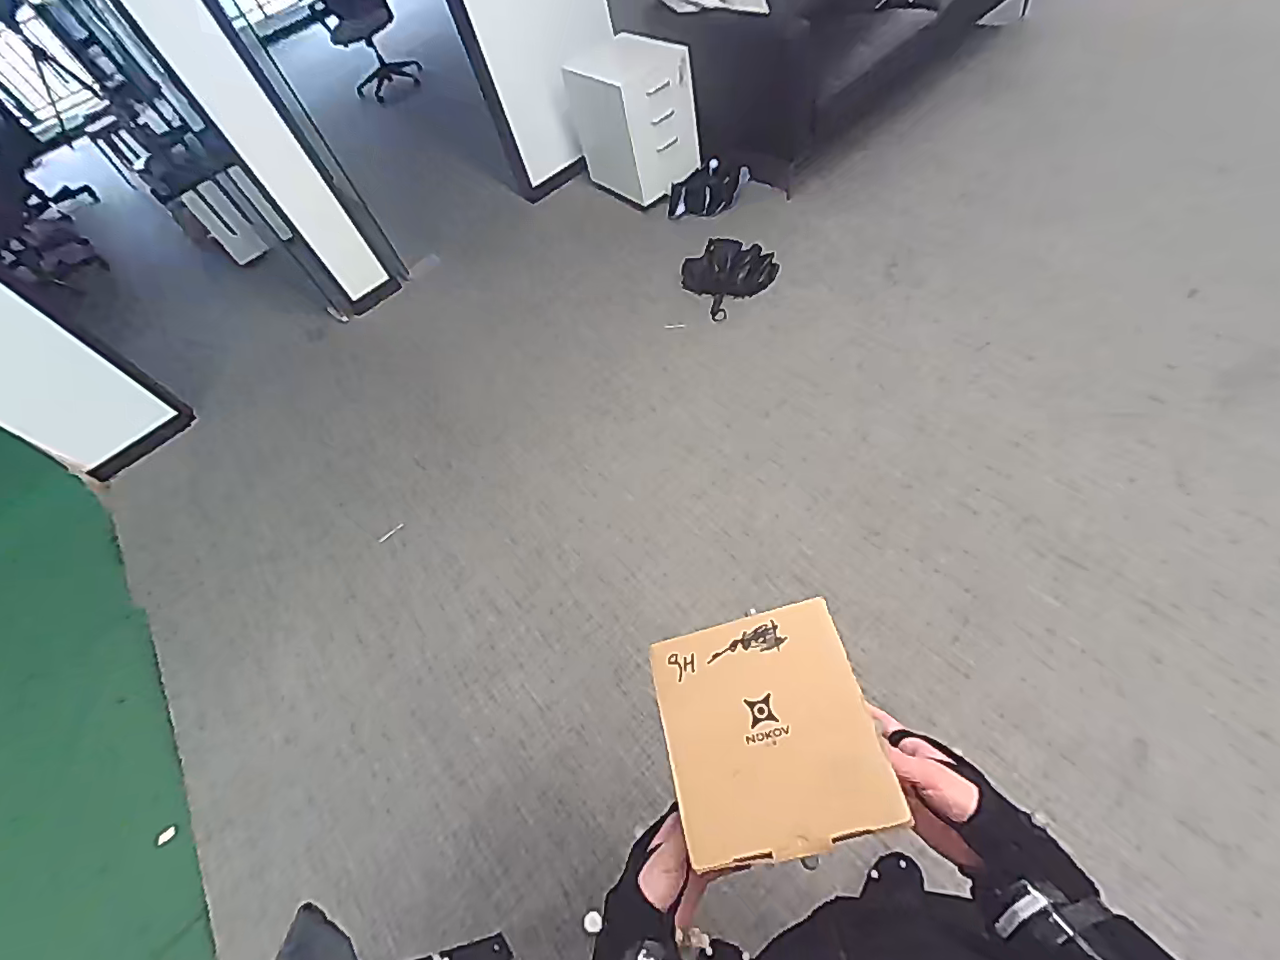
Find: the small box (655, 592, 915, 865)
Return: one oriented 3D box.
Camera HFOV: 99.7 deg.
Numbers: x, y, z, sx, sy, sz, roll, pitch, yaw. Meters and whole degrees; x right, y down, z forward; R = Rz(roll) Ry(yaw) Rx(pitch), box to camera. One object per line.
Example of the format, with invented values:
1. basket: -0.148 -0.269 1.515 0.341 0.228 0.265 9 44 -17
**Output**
1. small box: 0.125 0.230 0.503 0.168 0.176 0.179 -17 56 6
